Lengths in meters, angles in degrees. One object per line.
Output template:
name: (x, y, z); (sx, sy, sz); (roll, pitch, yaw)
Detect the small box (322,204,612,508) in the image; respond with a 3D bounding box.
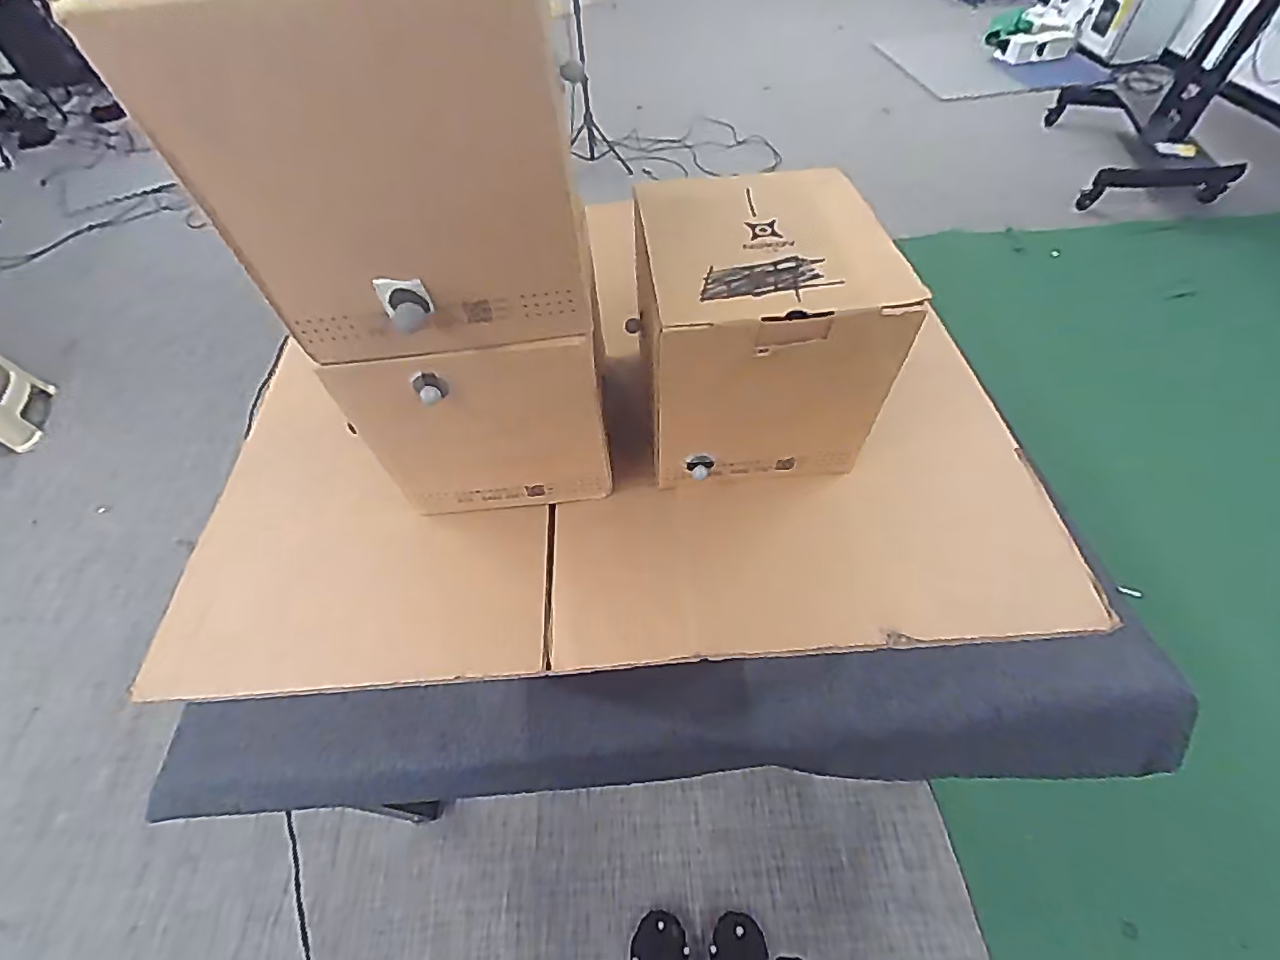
small box: (-0.115, -0.098, 0.444); (0.168, 0.176, 0.179); (-6, 53, 1)

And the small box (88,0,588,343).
small box: (-0.125, -0.203, 0.301); (0.168, 0.176, 0.179); (-8, 56, -2)
